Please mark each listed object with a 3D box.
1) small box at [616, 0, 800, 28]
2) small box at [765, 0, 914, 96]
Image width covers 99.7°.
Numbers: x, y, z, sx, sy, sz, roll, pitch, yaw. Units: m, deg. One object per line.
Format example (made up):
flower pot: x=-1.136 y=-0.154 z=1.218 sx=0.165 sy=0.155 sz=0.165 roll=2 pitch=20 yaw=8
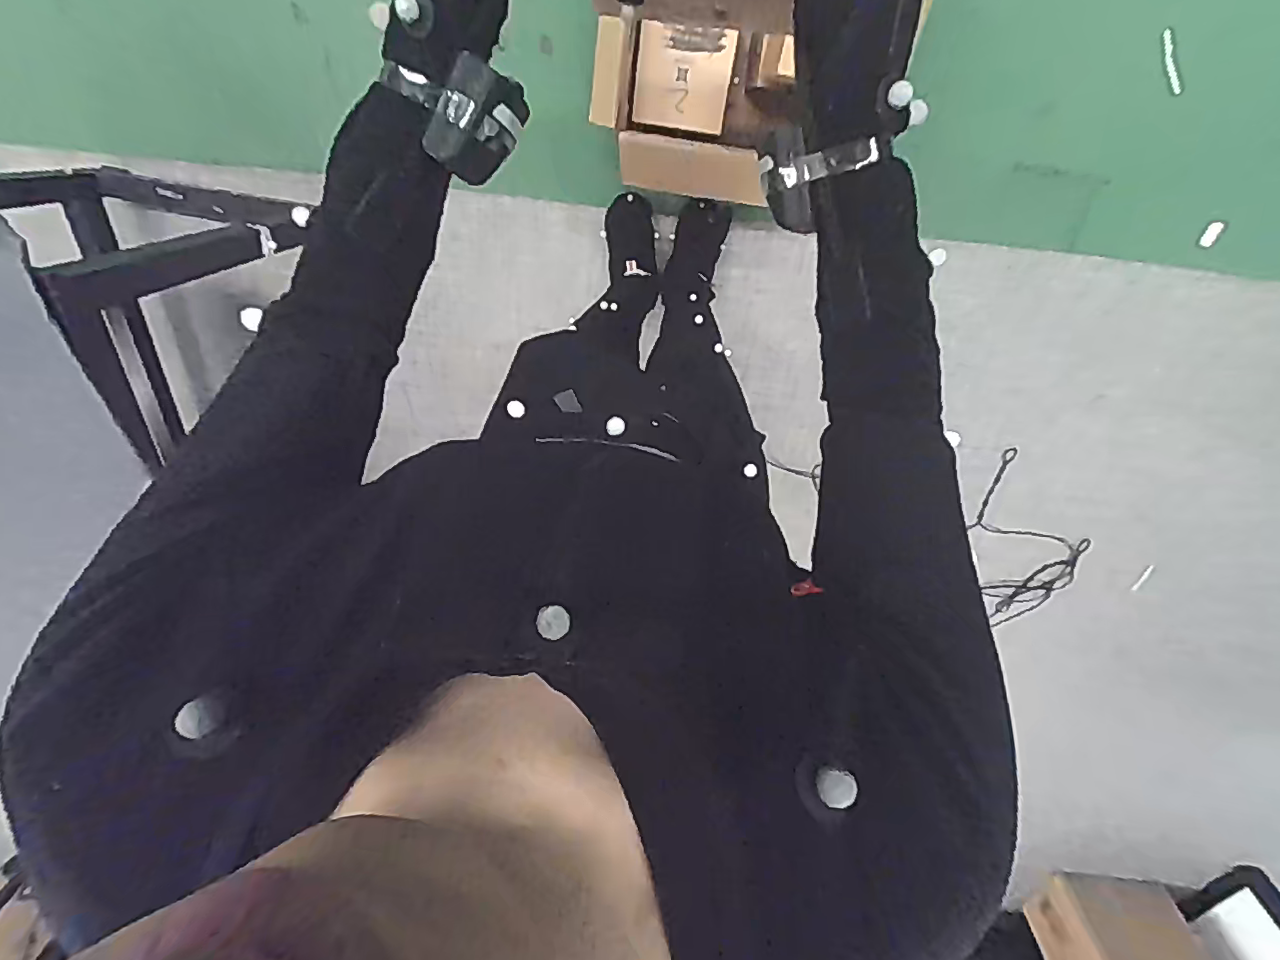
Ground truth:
small box: x=0.047 y=-0.432 z=0.339 sx=0.168 sy=0.176 sz=0.179 roll=8 pitch=104 yaw=2
small box: x=0.293 y=-0.694 z=0.808 sx=0.168 sy=0.176 sz=0.179 roll=9 pitch=123 yaw=-4
